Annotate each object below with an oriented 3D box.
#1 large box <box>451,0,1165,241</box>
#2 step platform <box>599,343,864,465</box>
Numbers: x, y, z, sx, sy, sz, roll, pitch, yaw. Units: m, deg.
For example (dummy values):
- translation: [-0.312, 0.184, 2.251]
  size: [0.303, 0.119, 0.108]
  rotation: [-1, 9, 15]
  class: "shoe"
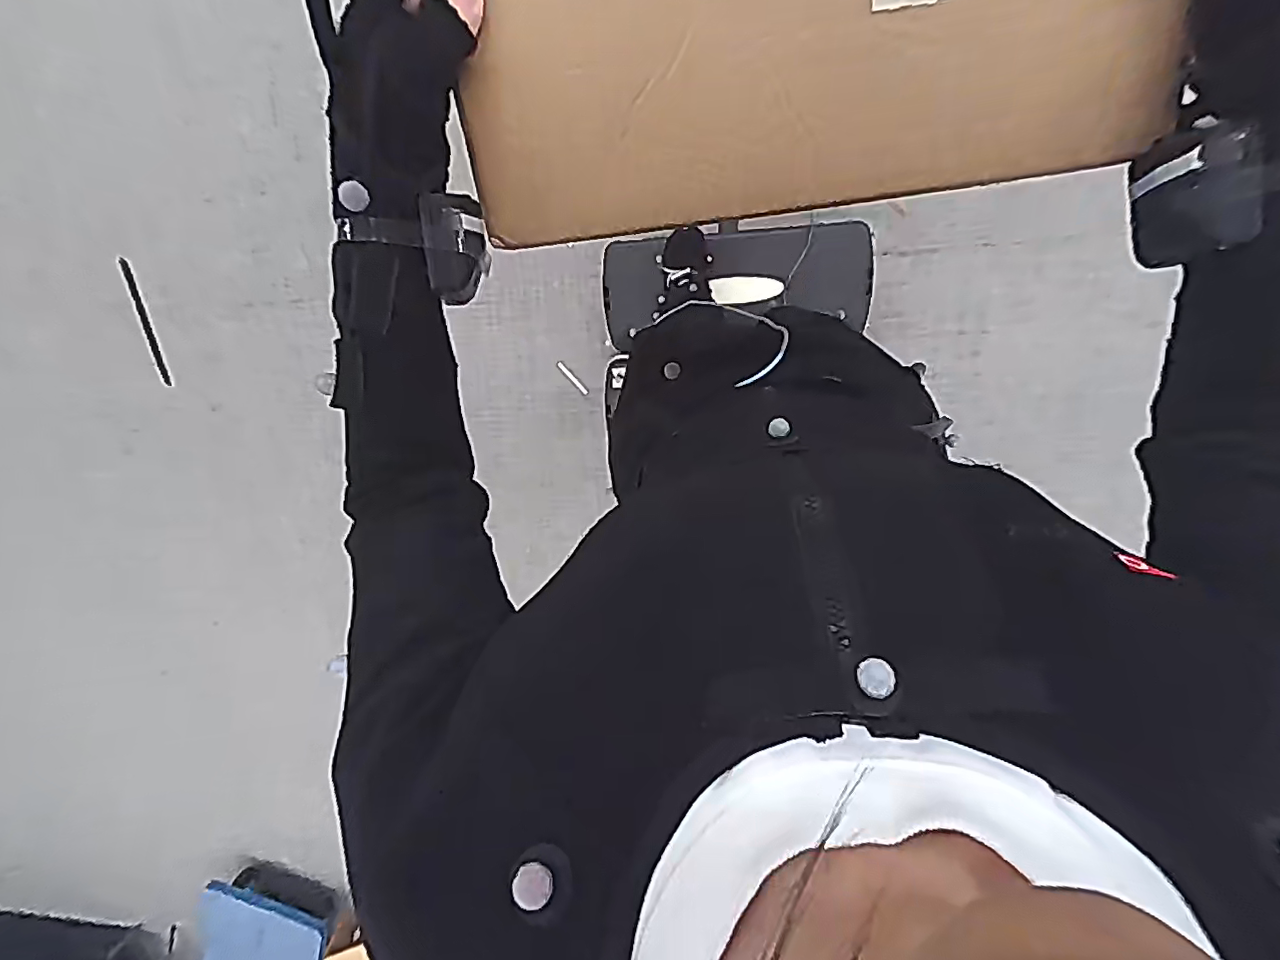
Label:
- translation: [0.092, -0.387, 0.420]
  size: [0.408, 0.320, 0.320]
  rotation: [-4, 116, 9]
  class: "large box"
- translation: [0.233, -0.197, 1.451]
  size: [0.684, 0.204, 0.286]
  rotation: [-1, 109, 11]
  class: "step platform"
